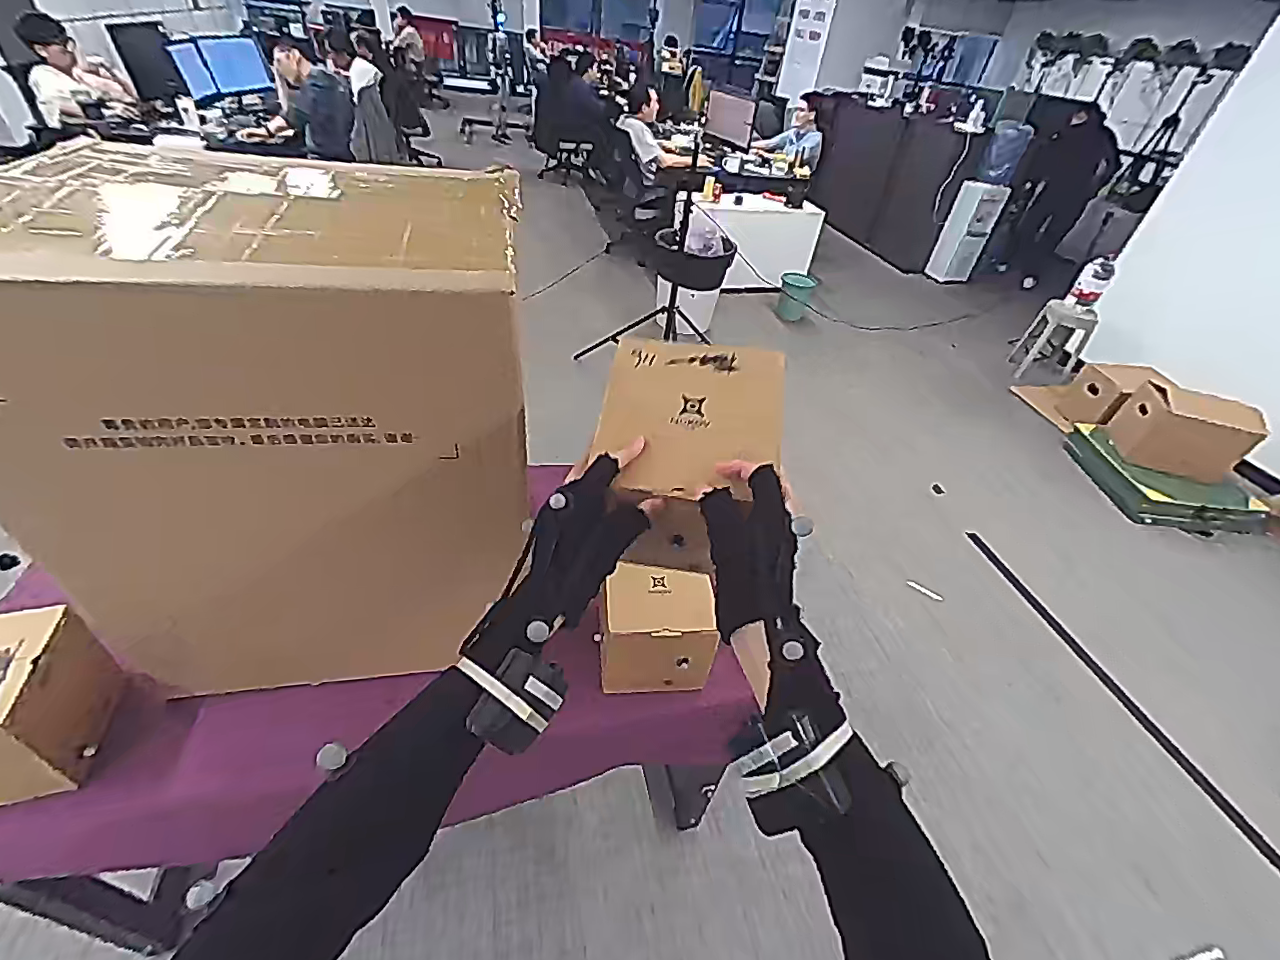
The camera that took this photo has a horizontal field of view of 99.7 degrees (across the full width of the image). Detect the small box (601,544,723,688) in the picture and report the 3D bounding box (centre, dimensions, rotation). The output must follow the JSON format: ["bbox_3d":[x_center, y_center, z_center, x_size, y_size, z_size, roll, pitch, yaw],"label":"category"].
[{"bbox_3d":[0.025,0.223,0.880,0.168,0.176,0.179,1,39,-9],"label":"small box"}]

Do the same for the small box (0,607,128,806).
[{"bbox_3d":[-0.795,0.286,0.667,0.179,0.176,0.168,-7,41,-18],"label":"small box"}]
